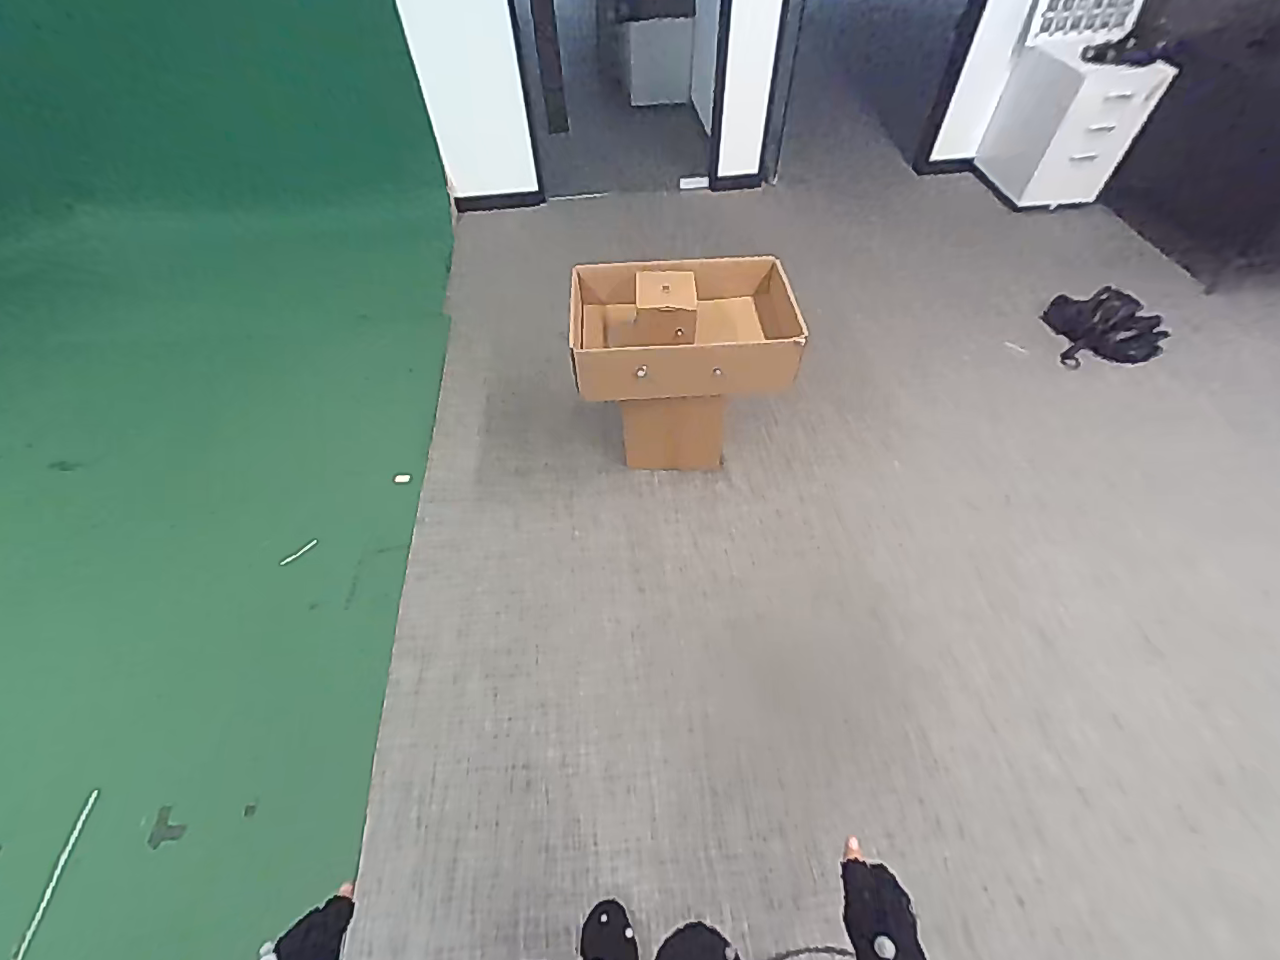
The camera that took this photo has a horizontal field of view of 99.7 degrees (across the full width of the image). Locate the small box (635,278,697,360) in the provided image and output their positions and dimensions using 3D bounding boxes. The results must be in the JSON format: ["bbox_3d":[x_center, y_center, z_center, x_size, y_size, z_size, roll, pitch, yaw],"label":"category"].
[{"bbox_3d":[0.071,-0.458,1.549,0.168,0.176,0.179,0,50,-2],"label":"small box"}]
